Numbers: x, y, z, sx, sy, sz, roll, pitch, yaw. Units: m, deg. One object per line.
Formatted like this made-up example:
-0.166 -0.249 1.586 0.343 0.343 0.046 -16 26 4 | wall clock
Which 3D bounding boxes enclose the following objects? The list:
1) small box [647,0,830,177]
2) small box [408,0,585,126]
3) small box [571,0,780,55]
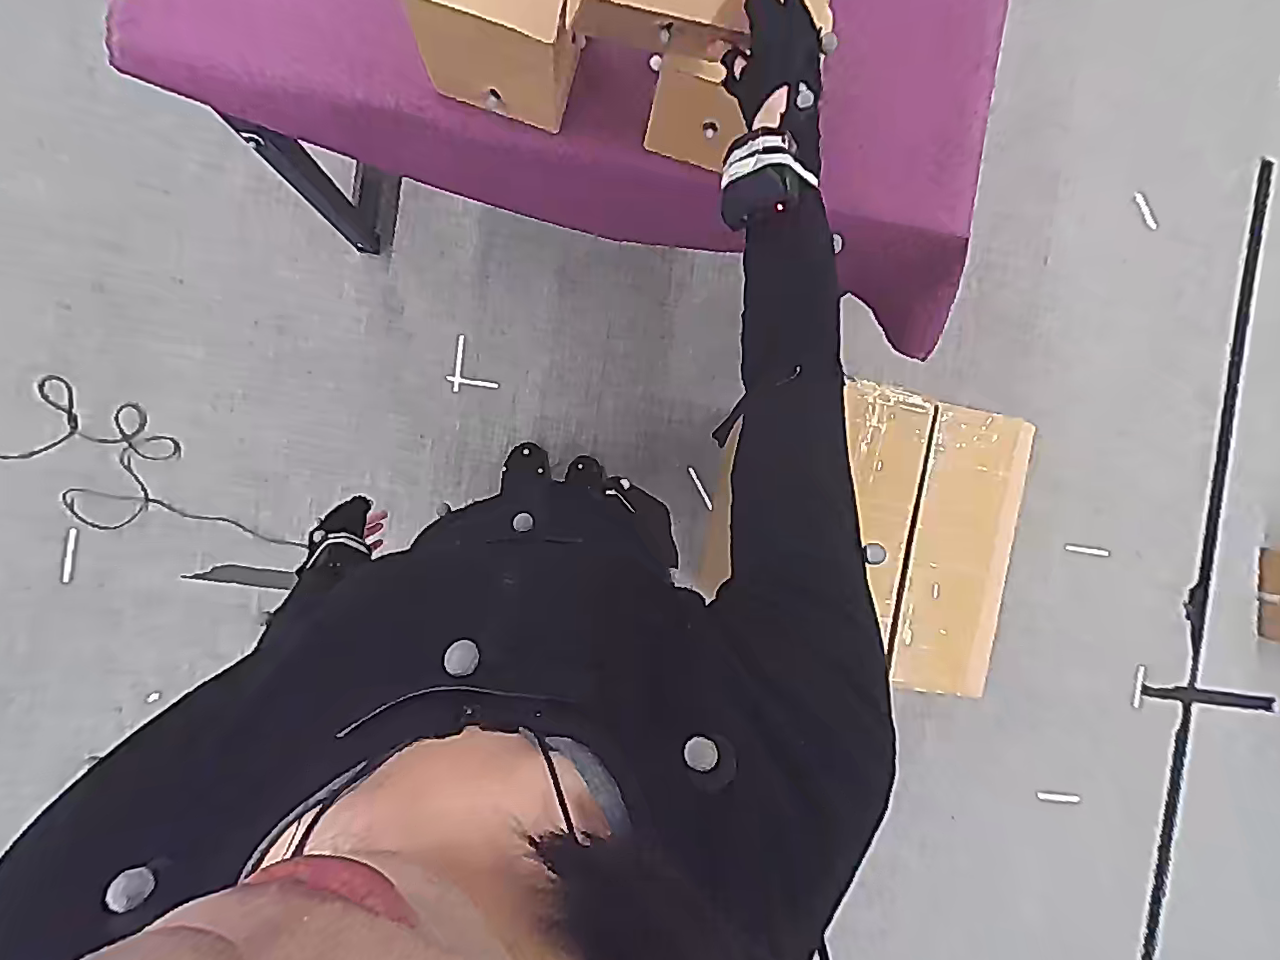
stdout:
0.119 -0.537 0.715 0.179 0.176 0.168 14 89 -6 | small box
-0.166 -0.590 0.678 0.179 0.176 0.168 15 89 -8 | small box
0.032 -0.515 0.496 0.179 0.176 0.168 0 120 -14 | small box
